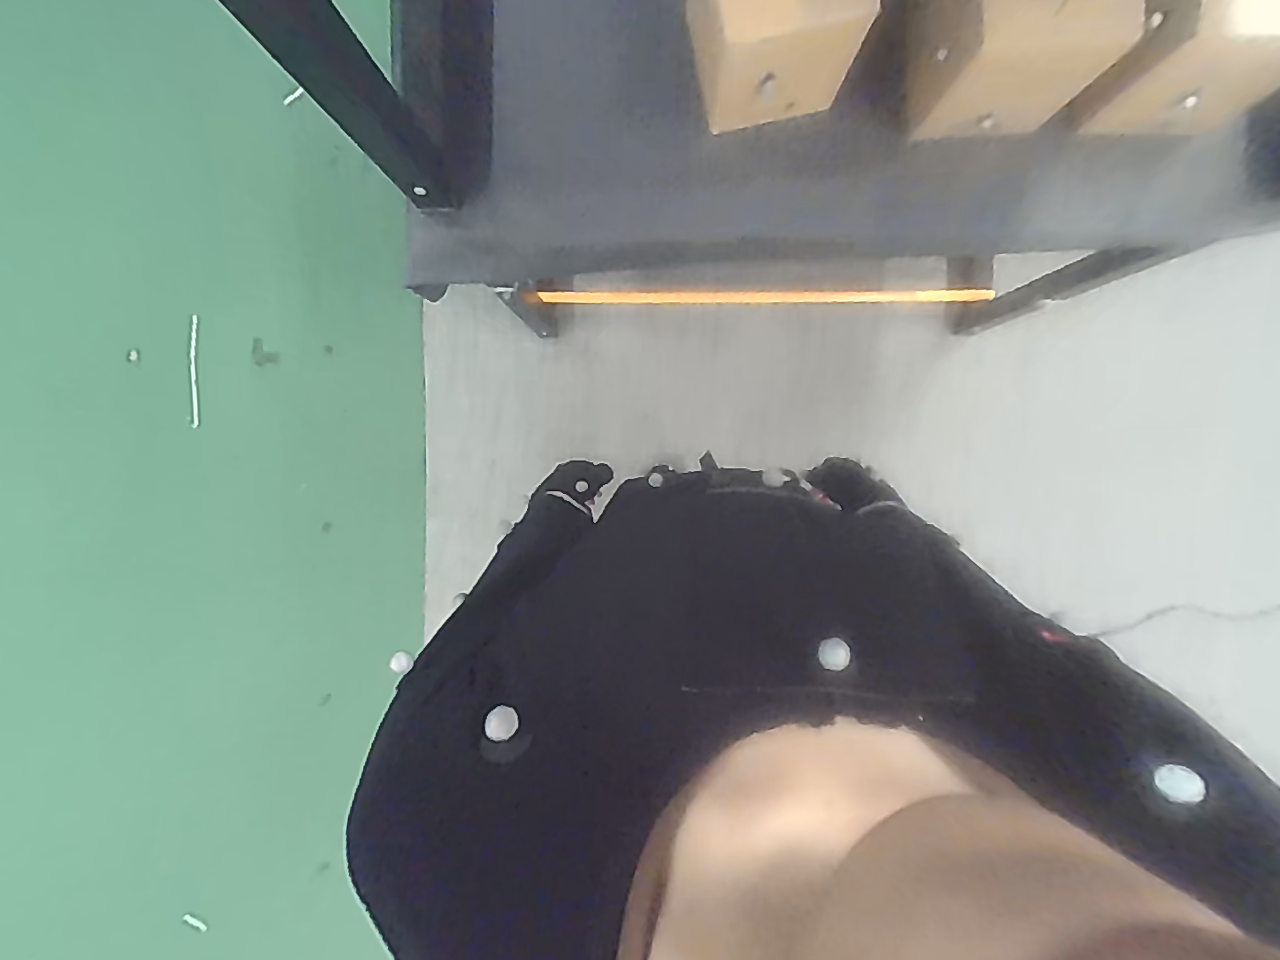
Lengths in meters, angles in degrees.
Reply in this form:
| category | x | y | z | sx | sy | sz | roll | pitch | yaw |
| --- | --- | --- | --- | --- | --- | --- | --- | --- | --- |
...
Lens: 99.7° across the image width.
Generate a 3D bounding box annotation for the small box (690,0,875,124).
| category | x | y | z | sx | sy | sz | roll | pitch | yaw |
| --- | --- | --- | --- | --- | --- | --- | --- | --- | --- |
| small box | 0.157 | -0.564 | 0.649 | 0.168 | 0.176 | 0.179 | -11 | 92 | 2 |
